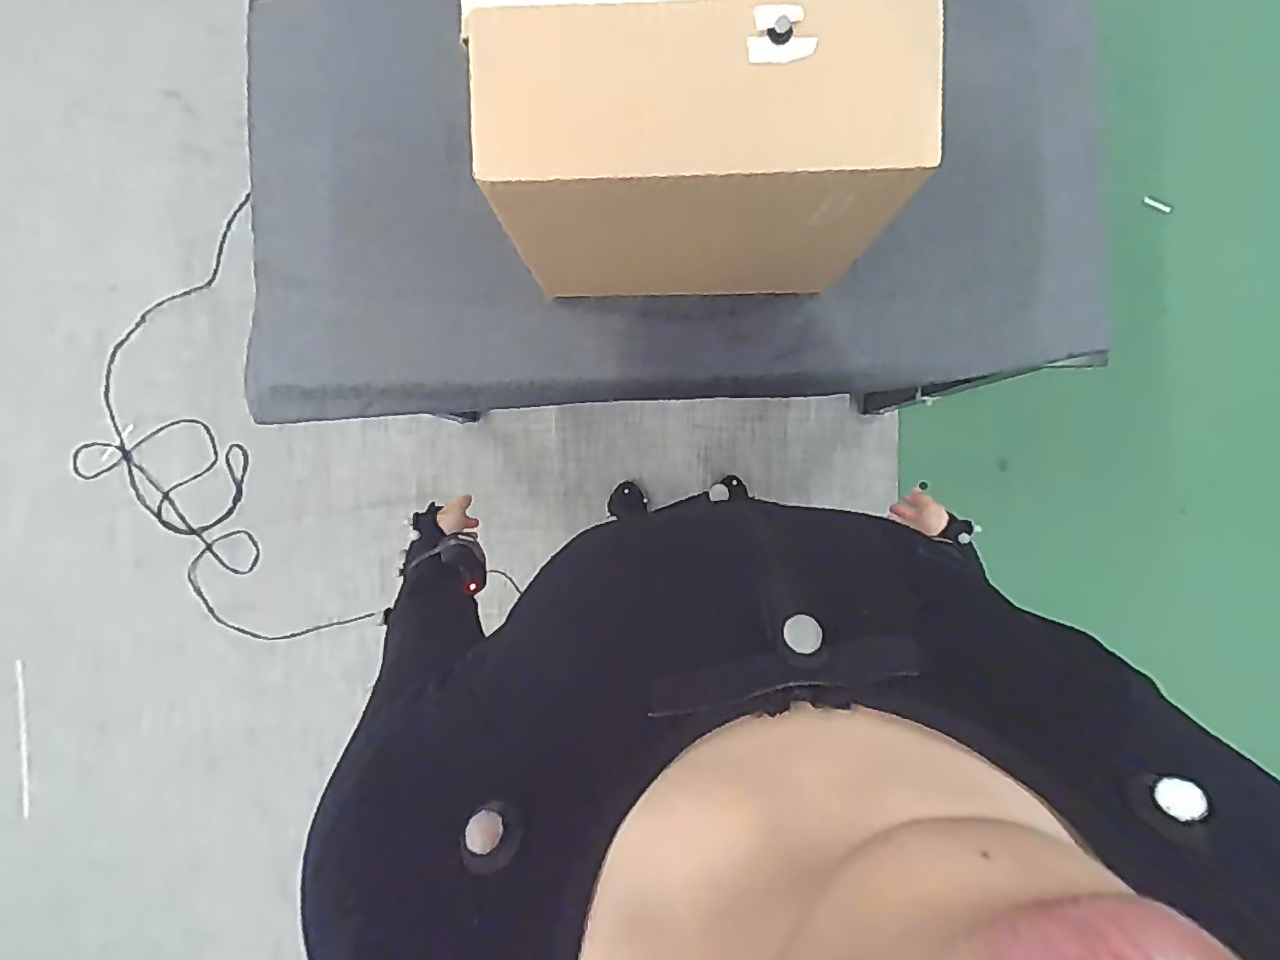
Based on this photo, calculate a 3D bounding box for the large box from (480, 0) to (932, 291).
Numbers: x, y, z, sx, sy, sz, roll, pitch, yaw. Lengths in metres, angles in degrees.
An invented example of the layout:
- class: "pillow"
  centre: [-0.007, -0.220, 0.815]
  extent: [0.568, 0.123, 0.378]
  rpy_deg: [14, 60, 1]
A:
- class: "large box"
  centre: [0.057, -0.430, 0.627]
  extent: [0.408, 0.320, 0.320]
  rpy_deg: [-1, 91, 2]
